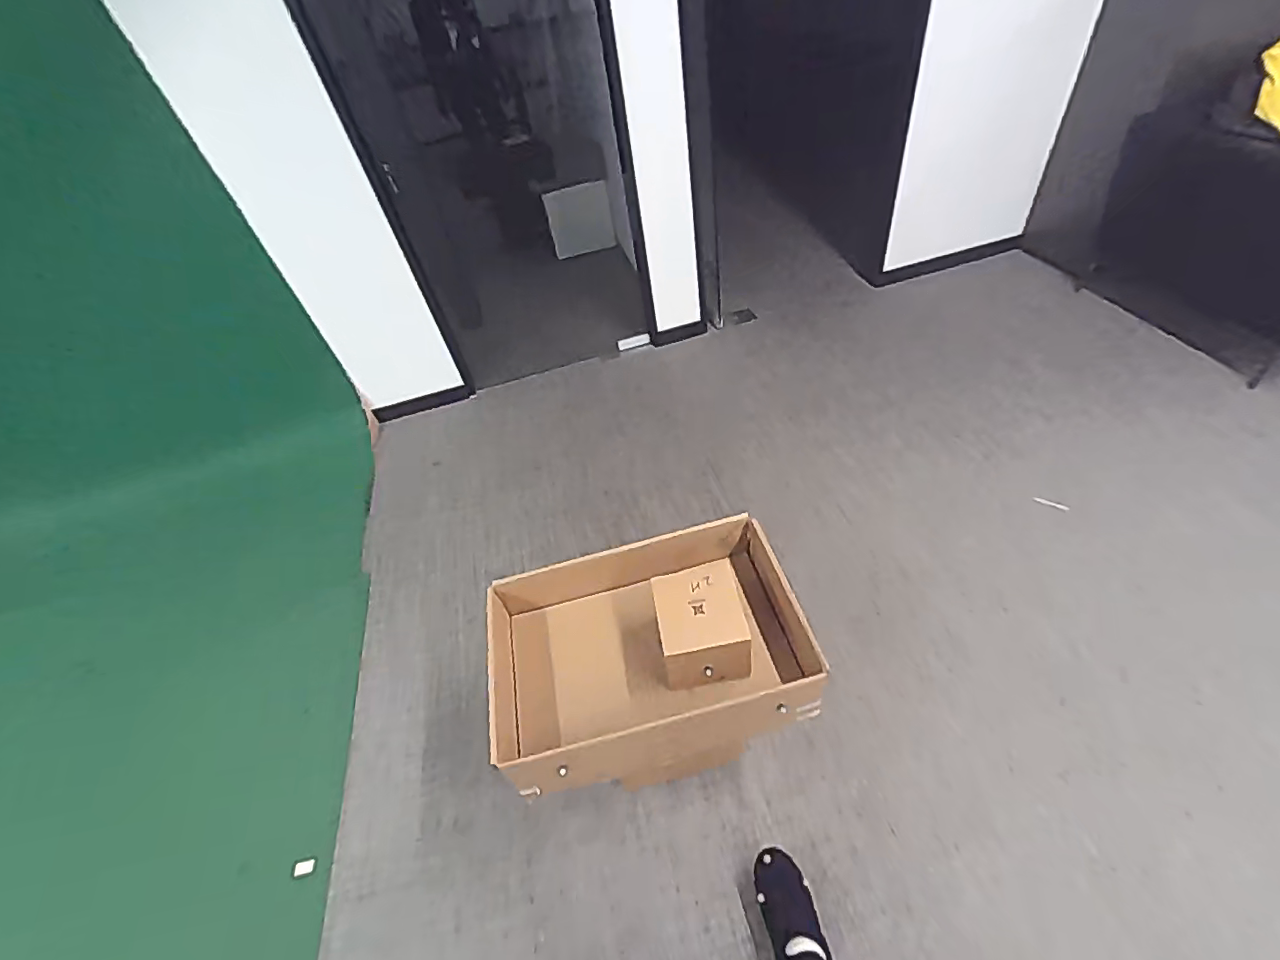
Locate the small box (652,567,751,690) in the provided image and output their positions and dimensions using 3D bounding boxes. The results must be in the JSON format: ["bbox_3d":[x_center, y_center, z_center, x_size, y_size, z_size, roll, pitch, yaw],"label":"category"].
[{"bbox_3d":[0.126,0.306,1.091,0.168,0.176,0.179,-11,45,1],"label":"small box"}]
